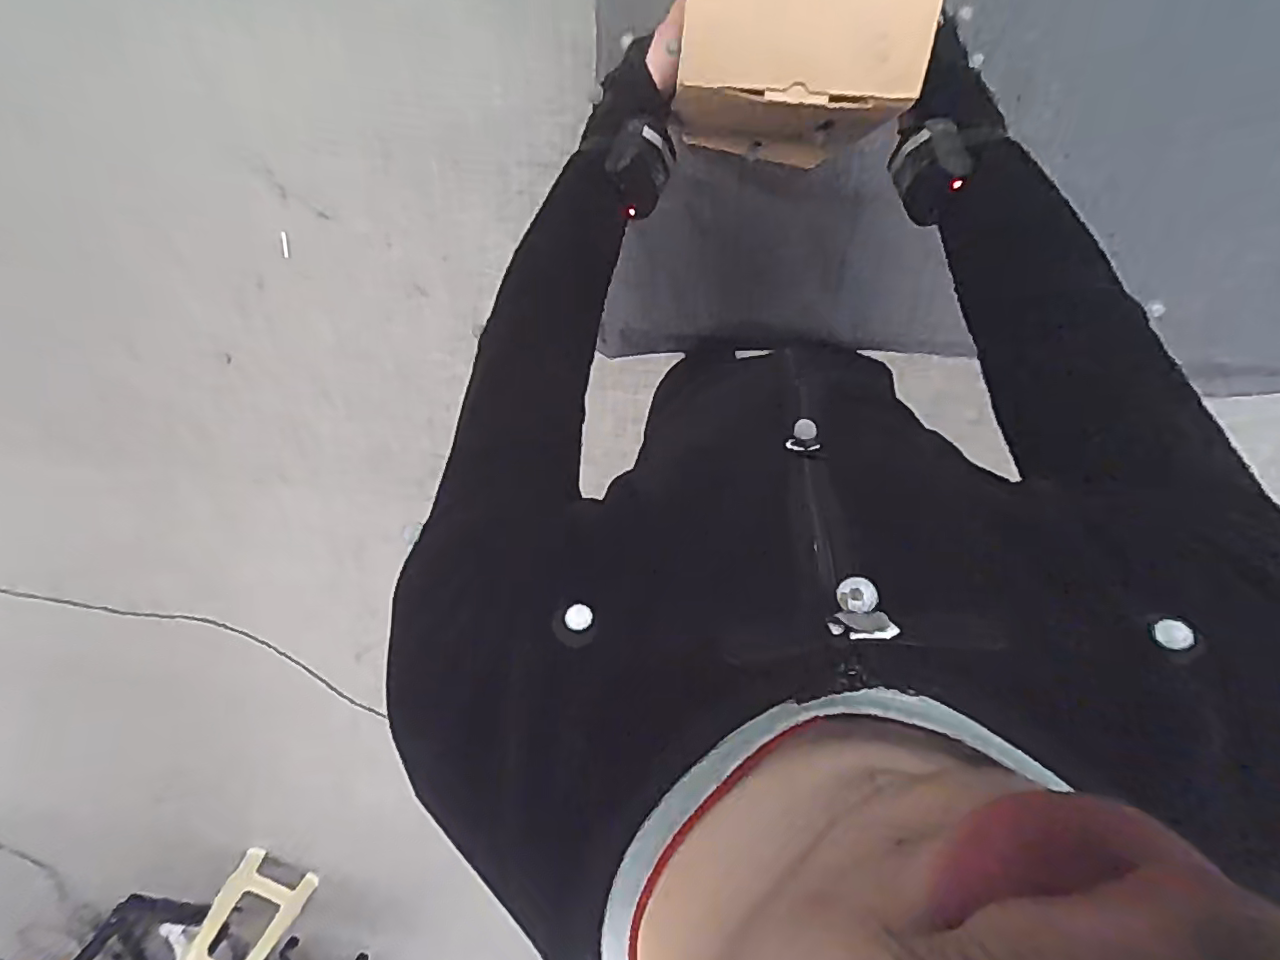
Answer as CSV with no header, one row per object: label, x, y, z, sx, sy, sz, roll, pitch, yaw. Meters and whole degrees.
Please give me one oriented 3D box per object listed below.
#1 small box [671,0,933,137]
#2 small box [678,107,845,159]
small box,0.115,-0.377,0.406,0.168,0.176,0.179,5,112,2
small box,0.138,-0.448,0.553,0.168,0.176,0.179,11,113,0
